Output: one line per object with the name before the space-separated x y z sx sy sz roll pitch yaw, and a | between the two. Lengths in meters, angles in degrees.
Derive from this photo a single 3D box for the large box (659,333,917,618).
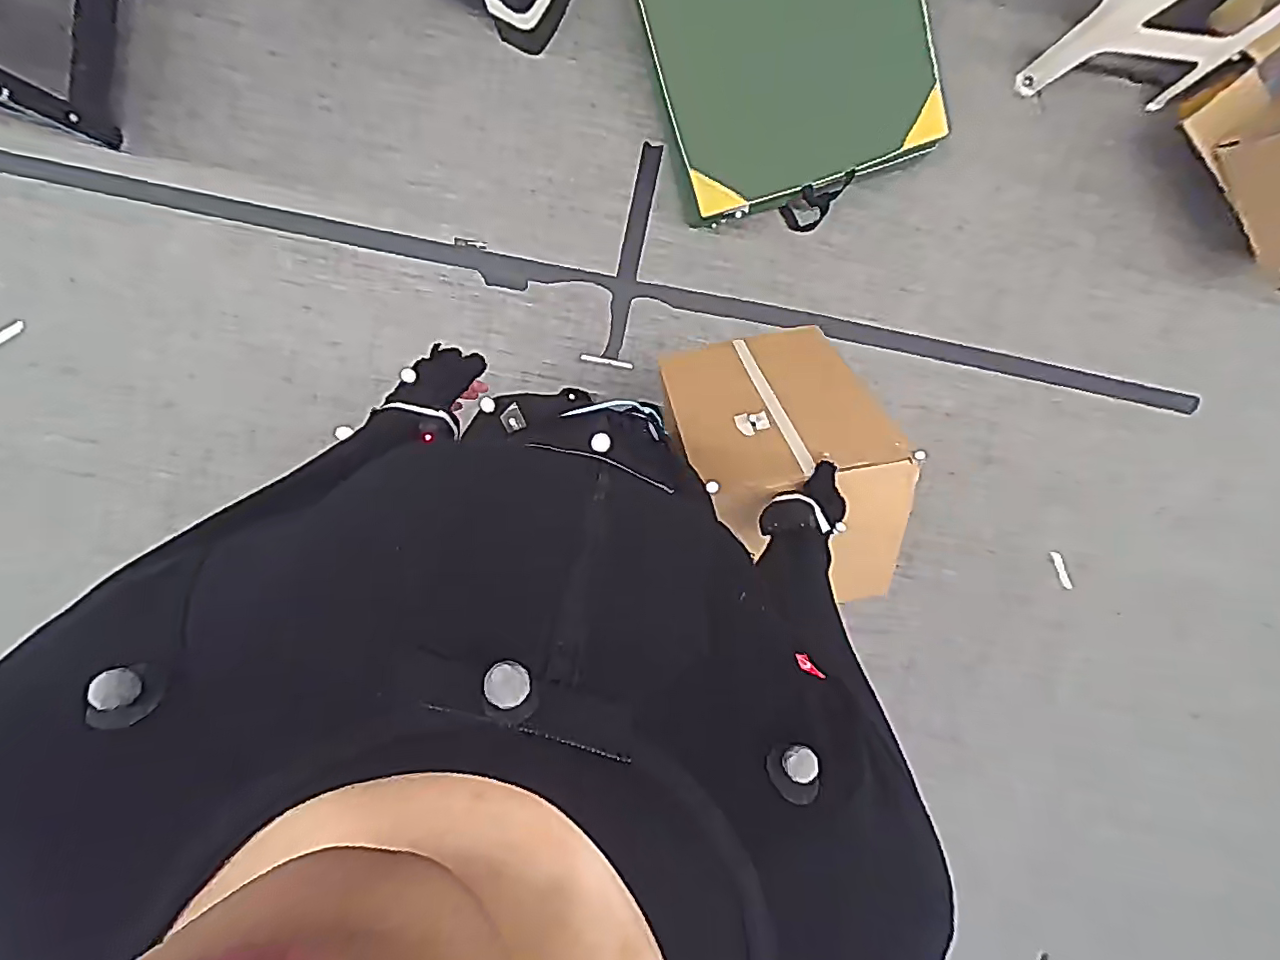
large box | 0.231 -0.018 0.998 0.320 0.408 0.320 -11 133 1
